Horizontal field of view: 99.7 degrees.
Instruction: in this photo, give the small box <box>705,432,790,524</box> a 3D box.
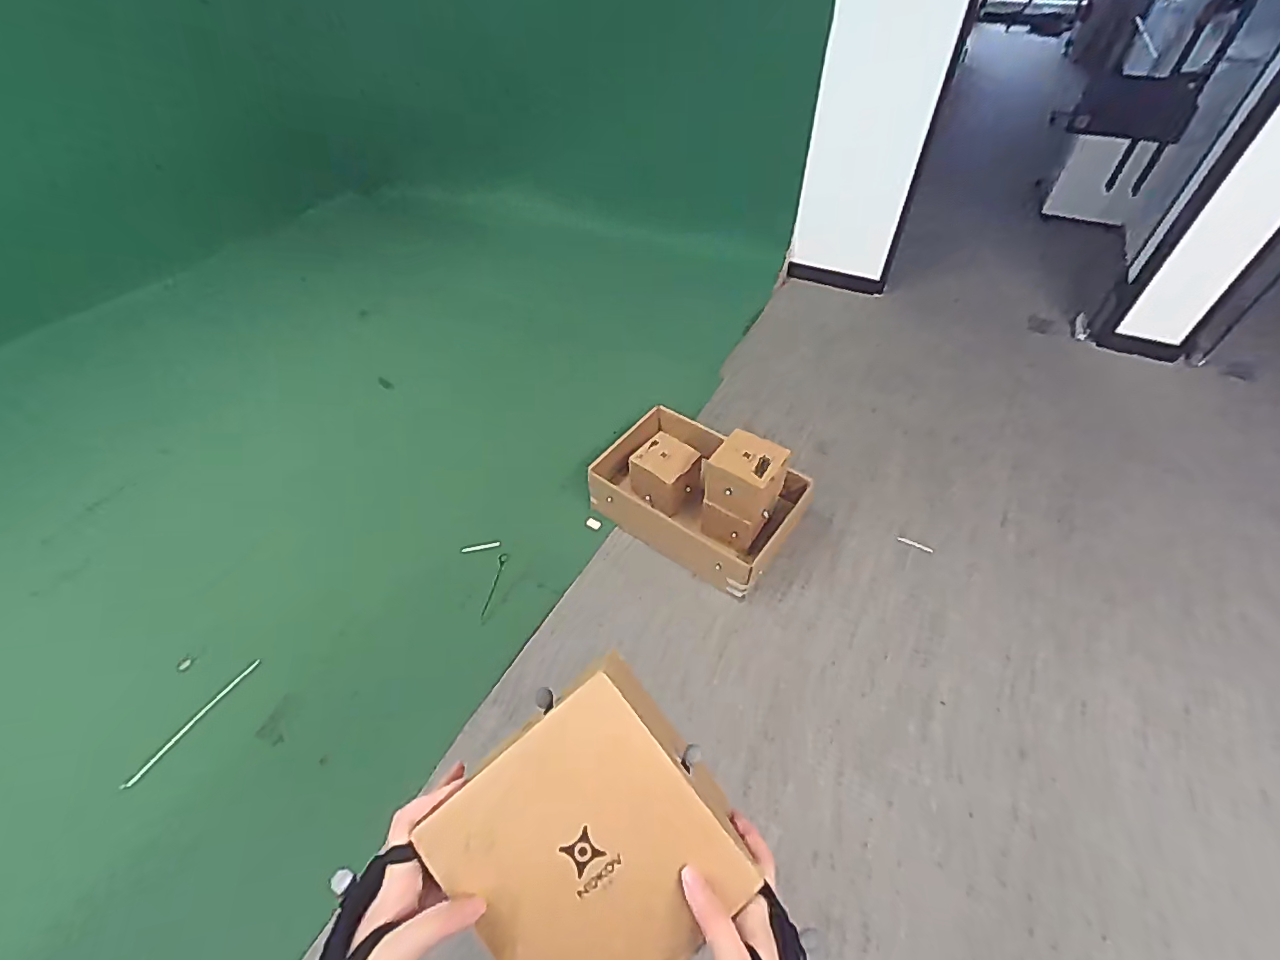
[{"bbox_3d":[0.300,-0.001,1.543,0.179,0.176,0.168,28,56,25],"label":"small box"}]
